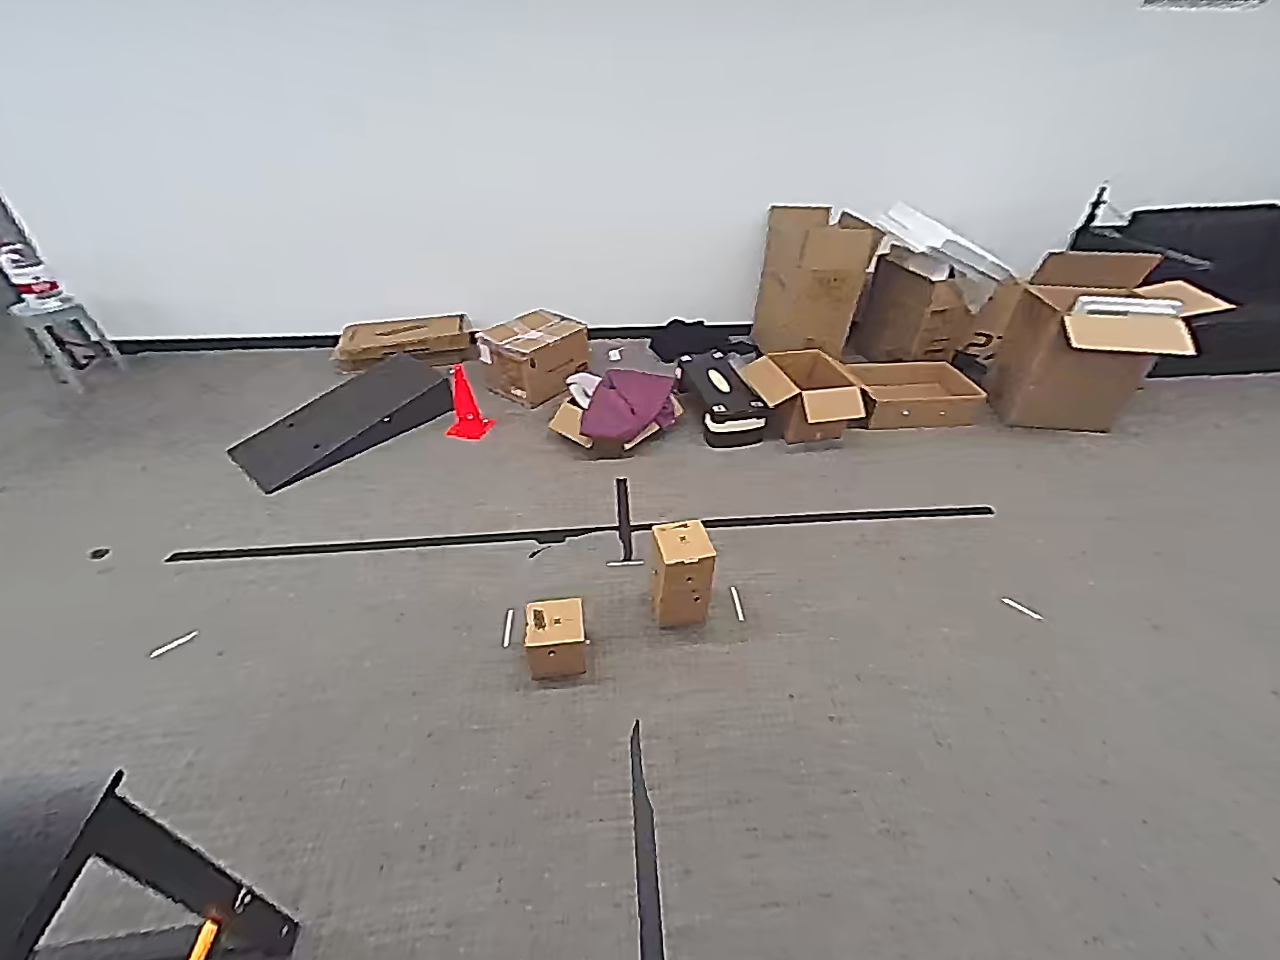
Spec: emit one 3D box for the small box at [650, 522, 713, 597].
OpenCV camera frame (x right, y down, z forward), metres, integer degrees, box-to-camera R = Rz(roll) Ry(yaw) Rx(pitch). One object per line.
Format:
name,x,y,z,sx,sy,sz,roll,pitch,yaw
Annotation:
small box,0.131,0.264,1.760,0.168,0.176,0.179,-7,39,-10

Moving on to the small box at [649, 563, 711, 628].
small box,0.131,0.388,1.867,0.179,0.176,0.168,-7,38,-9

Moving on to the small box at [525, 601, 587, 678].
small box,-0.264,0.506,1.706,0.179,0.176,0.168,-5,38,-7
